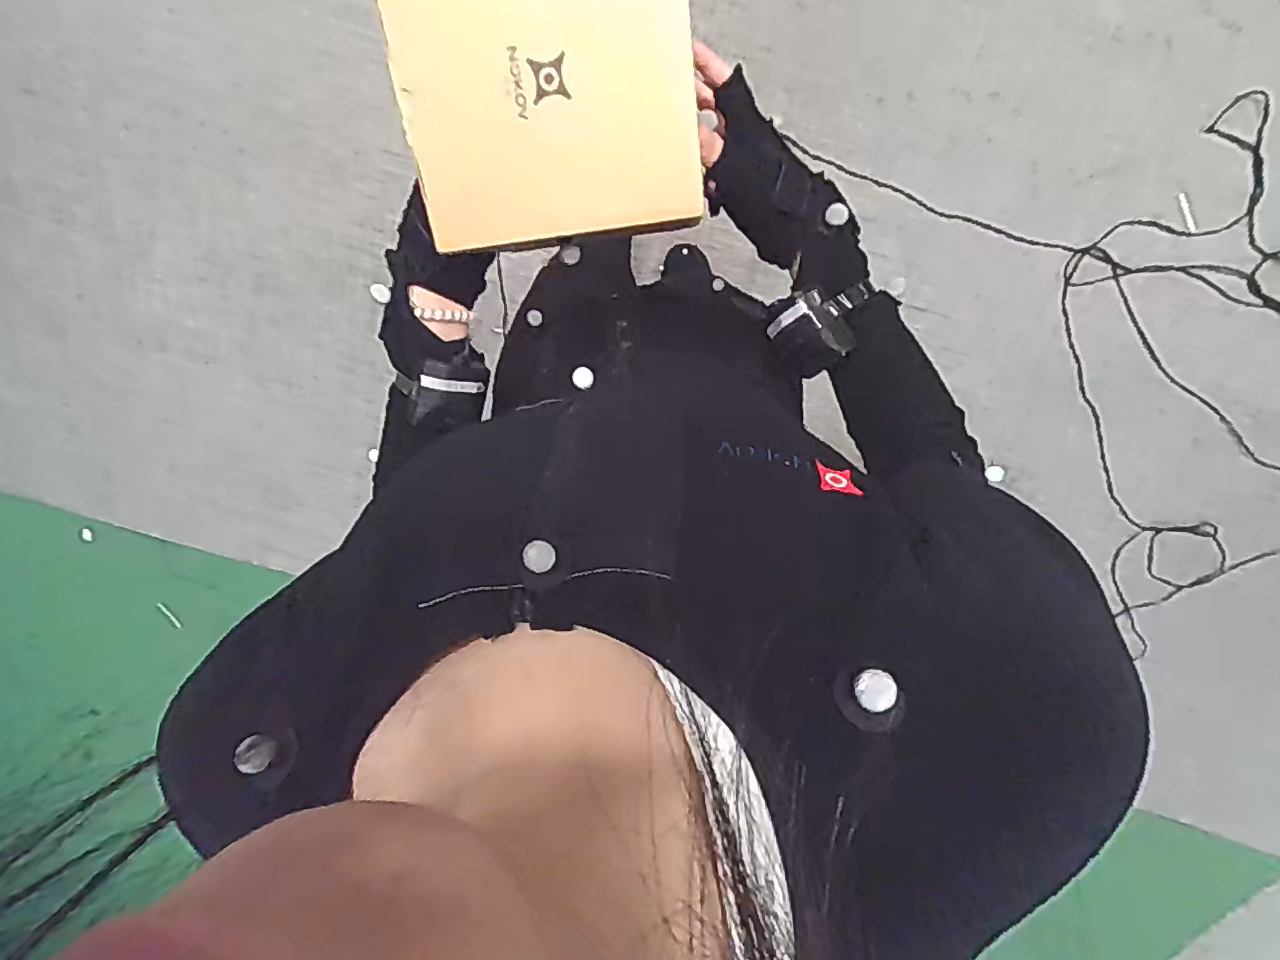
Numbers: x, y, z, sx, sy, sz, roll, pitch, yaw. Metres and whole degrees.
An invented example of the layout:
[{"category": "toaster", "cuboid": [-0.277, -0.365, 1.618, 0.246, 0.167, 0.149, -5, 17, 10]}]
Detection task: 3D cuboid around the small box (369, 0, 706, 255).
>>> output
[{"category": "small box", "cuboid": [-0.050, -0.258, 0.375, 0.179, 0.176, 0.168, -4, 114, 8]}]
